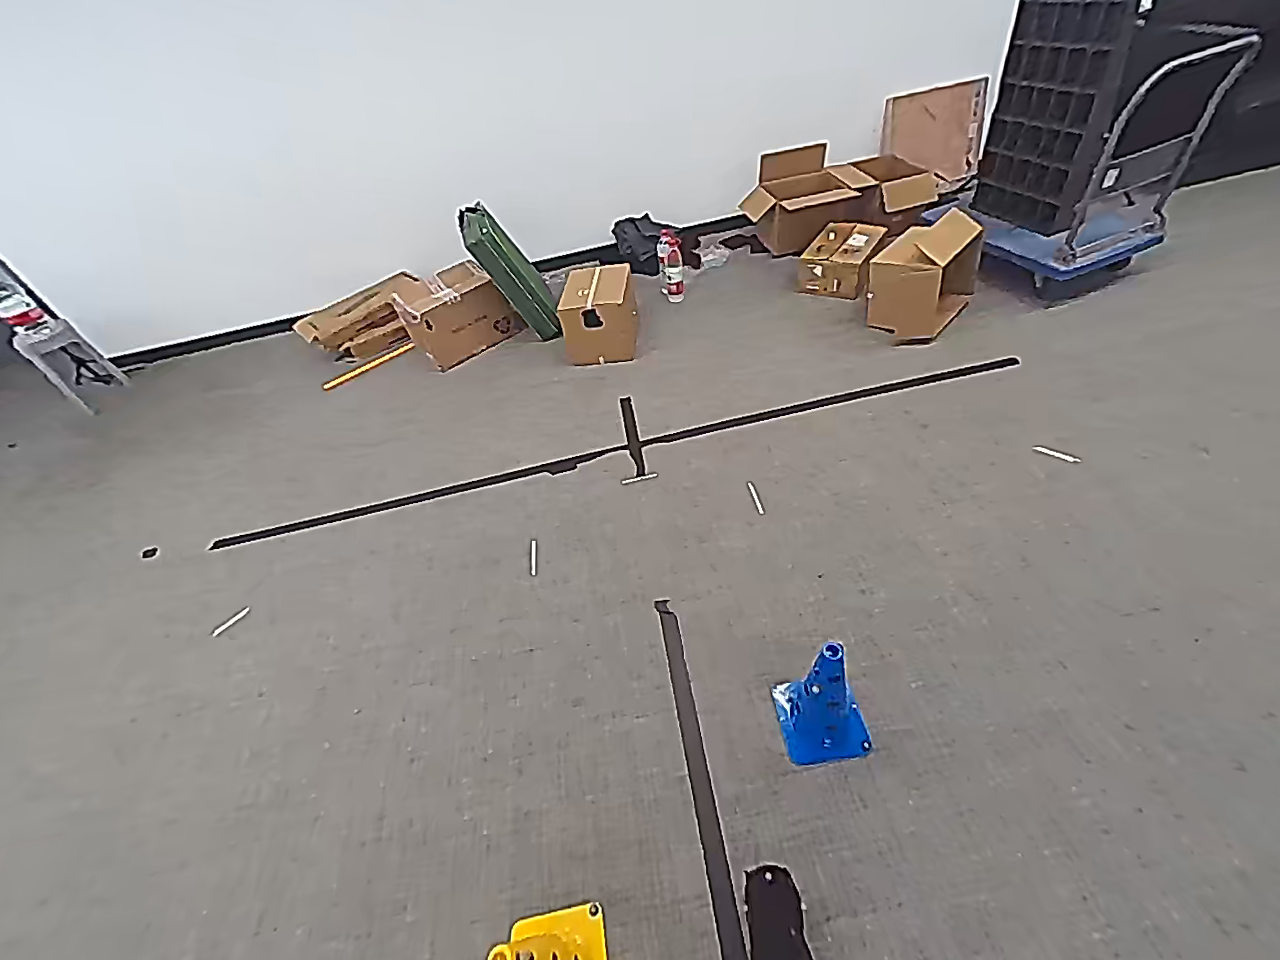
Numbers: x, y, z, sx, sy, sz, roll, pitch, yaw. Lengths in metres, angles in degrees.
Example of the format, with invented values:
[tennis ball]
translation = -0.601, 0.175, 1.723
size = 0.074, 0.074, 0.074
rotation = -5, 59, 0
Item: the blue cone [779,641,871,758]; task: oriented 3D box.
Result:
[blue cone]
translation = 0.432, 0.477, 1.239
size = 0.192, 0.380, 0.193
rotation = -8, 44, 3
